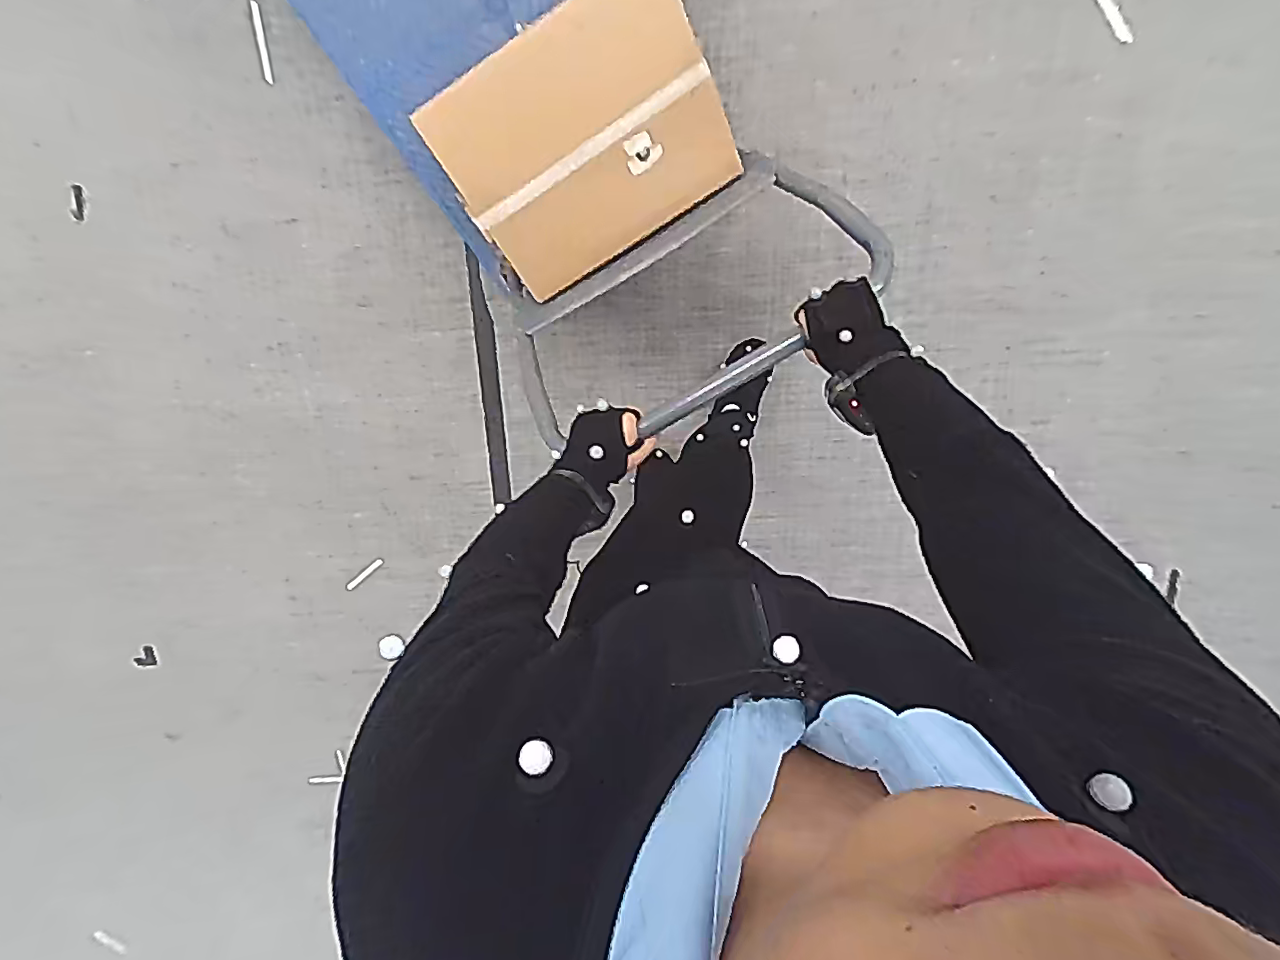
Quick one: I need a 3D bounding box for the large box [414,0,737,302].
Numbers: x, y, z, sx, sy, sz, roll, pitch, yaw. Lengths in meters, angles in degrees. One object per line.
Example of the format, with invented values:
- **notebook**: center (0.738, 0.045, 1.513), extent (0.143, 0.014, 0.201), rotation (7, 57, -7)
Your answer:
- **large box**: center (-0.112, -0.586, 0.931), extent (0.408, 0.320, 0.320), rotation (-31, 128, 8)
